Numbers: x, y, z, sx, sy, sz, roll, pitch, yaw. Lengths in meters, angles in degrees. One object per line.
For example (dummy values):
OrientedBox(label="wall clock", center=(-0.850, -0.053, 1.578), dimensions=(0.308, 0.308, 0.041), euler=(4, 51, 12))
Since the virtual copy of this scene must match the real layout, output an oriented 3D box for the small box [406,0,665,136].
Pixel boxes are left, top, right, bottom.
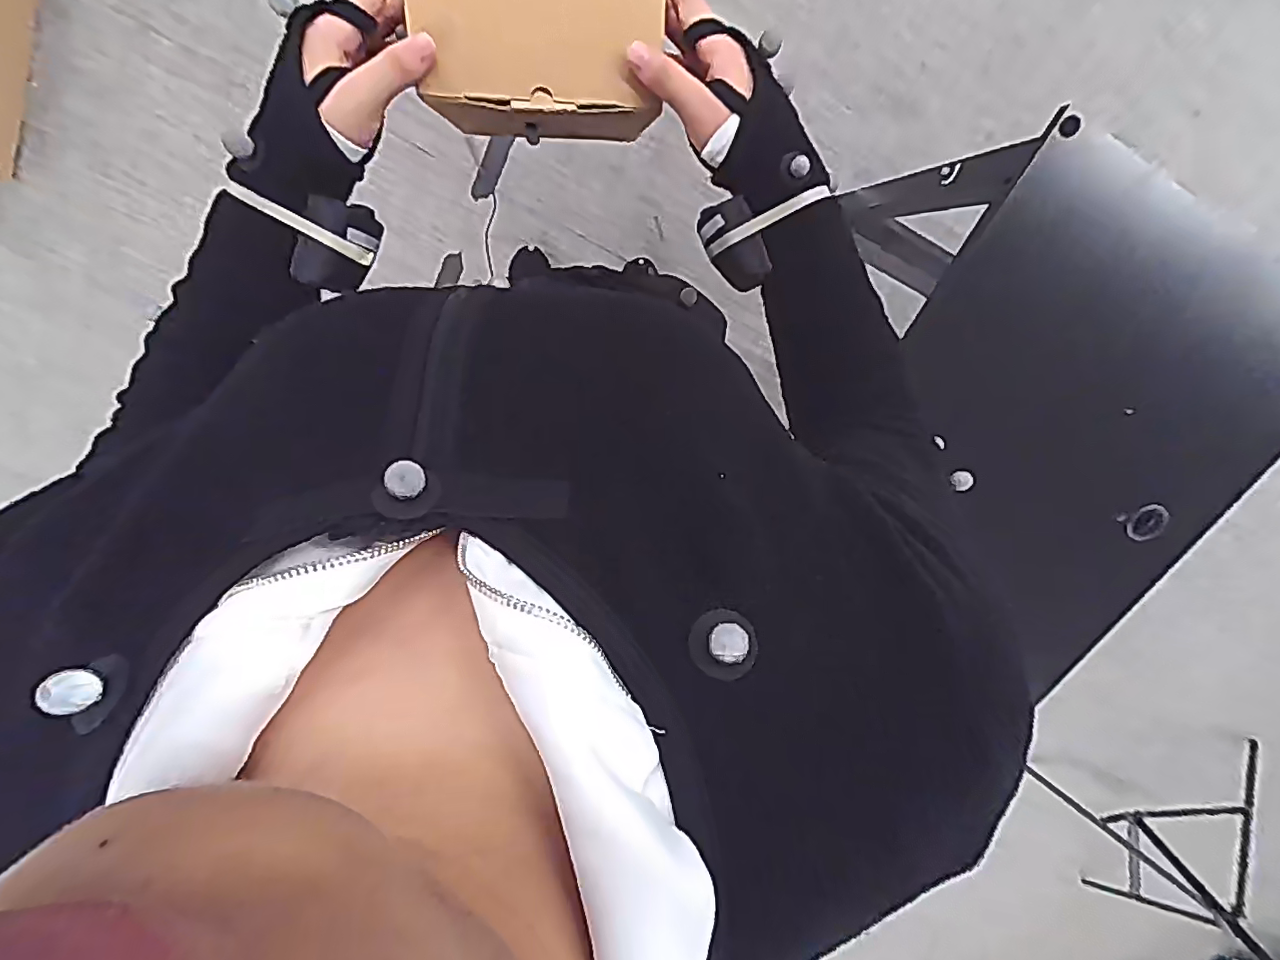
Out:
OrientedBox(label="small box", center=(-0.074, -0.370, 0.398), dimensions=(0.168, 0.176, 0.179), euler=(-2, 117, -7))
